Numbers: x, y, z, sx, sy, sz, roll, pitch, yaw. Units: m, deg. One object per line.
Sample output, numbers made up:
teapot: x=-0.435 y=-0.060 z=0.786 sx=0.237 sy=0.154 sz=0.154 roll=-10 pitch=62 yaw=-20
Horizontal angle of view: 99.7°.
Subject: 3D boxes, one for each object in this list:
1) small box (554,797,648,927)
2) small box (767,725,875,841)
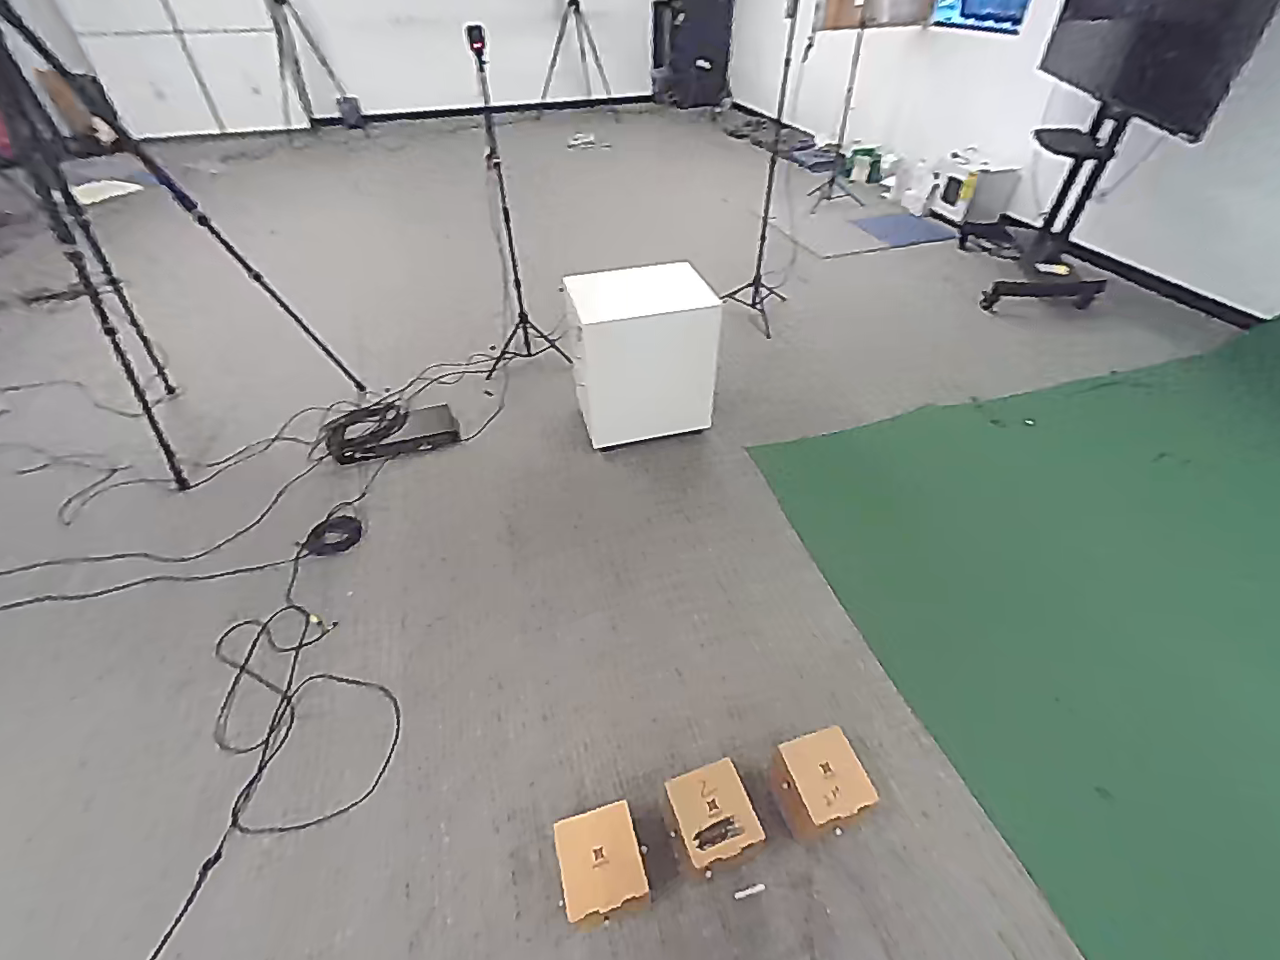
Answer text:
small box: x=-0.085 y=0.834 z=1.180 sx=0.168 sy=0.176 sz=0.179 roll=-13 pitch=46 yaw=-11
small box: x=0.420 y=0.724 z=1.293 sx=0.168 sy=0.176 sz=0.179 roll=-12 pitch=46 yaw=-12
